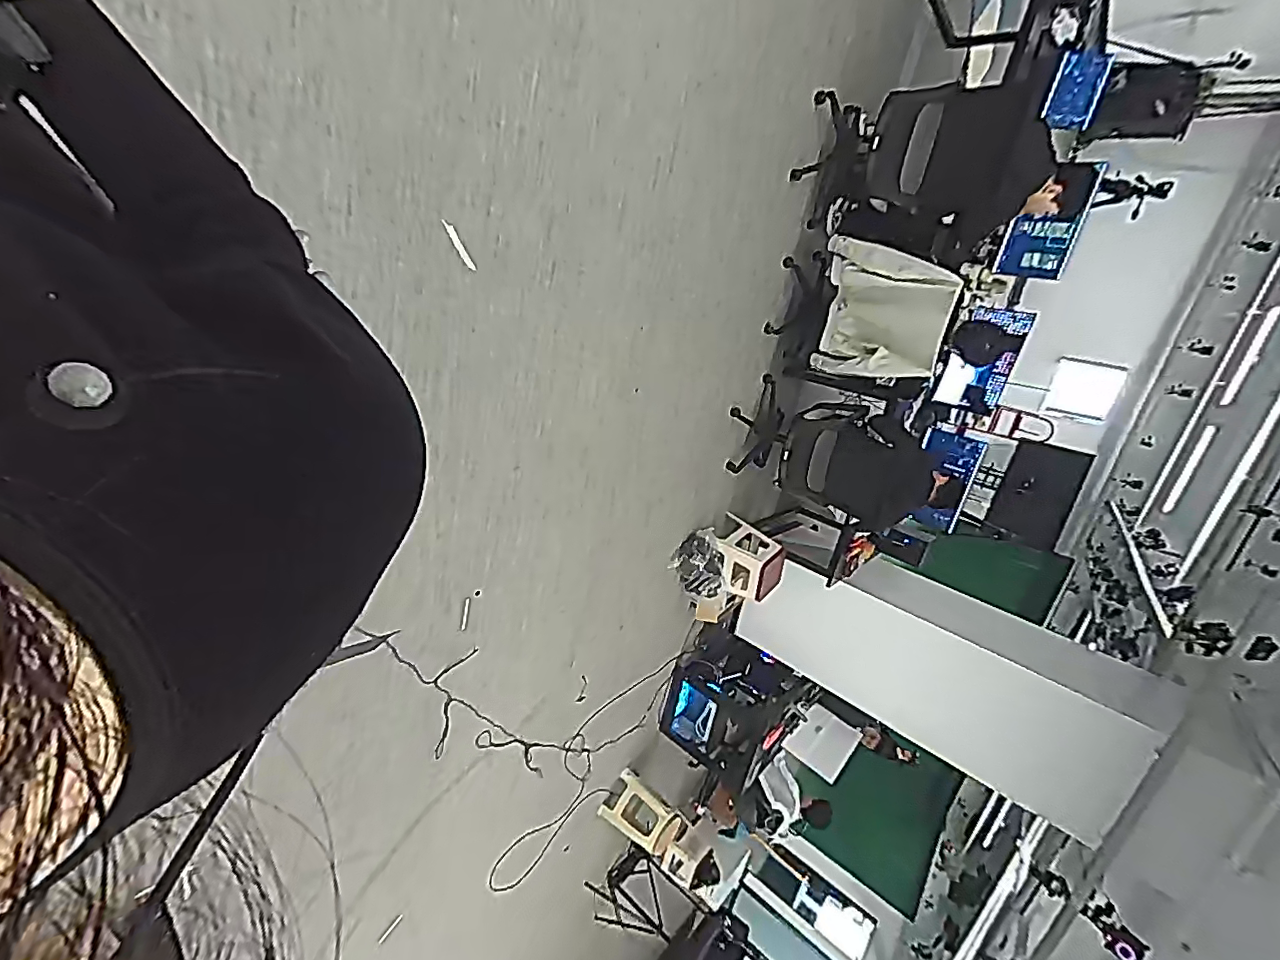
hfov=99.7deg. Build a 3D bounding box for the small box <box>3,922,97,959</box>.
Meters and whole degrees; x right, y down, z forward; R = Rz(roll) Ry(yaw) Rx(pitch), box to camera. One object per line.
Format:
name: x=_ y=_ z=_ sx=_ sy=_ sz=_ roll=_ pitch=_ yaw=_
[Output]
small box: x=-1.464 y=1.265 z=1.338 sx=0.168 sy=0.176 sz=0.179 roll=-8 pitch=117 yaw=-51
